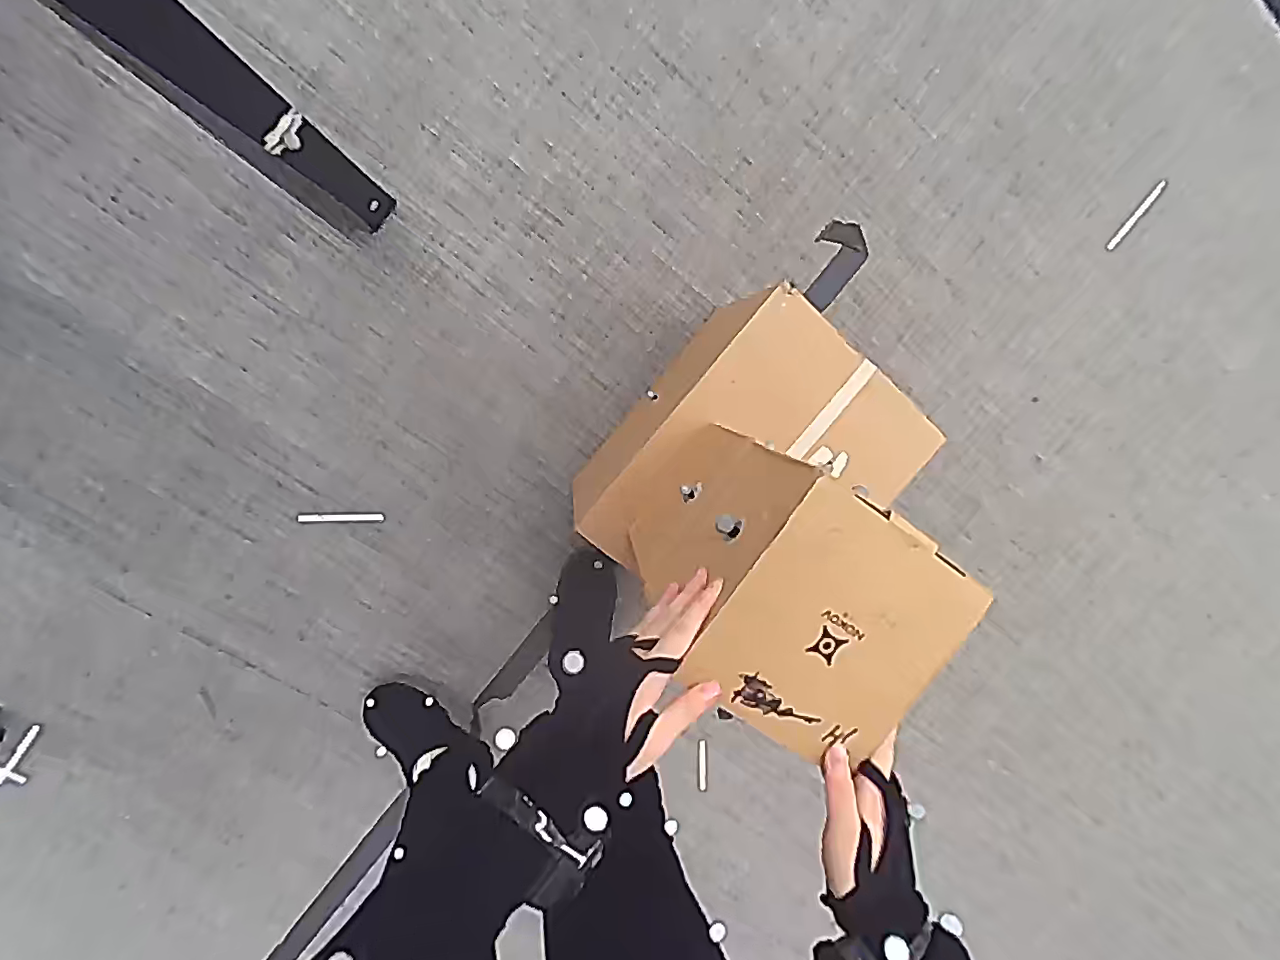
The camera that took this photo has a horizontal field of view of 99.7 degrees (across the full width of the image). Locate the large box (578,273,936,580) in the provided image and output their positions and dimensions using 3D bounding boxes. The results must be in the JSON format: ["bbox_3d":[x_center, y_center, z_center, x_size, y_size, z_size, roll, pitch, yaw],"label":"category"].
[{"bbox_3d":[0.140,-0.036,0.847,0.320,0.320,0.408,38,94,-14],"label":"large box"}]

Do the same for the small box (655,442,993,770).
[{"bbox_3d":[0.128,0.085,0.451,0.168,0.176,0.179,34,96,-11],"label":"small box"}]

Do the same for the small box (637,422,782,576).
[{"bbox_3d":[0.110,0.051,0.610,0.168,0.176,0.179,38,95,-11],"label":"small box"}]
